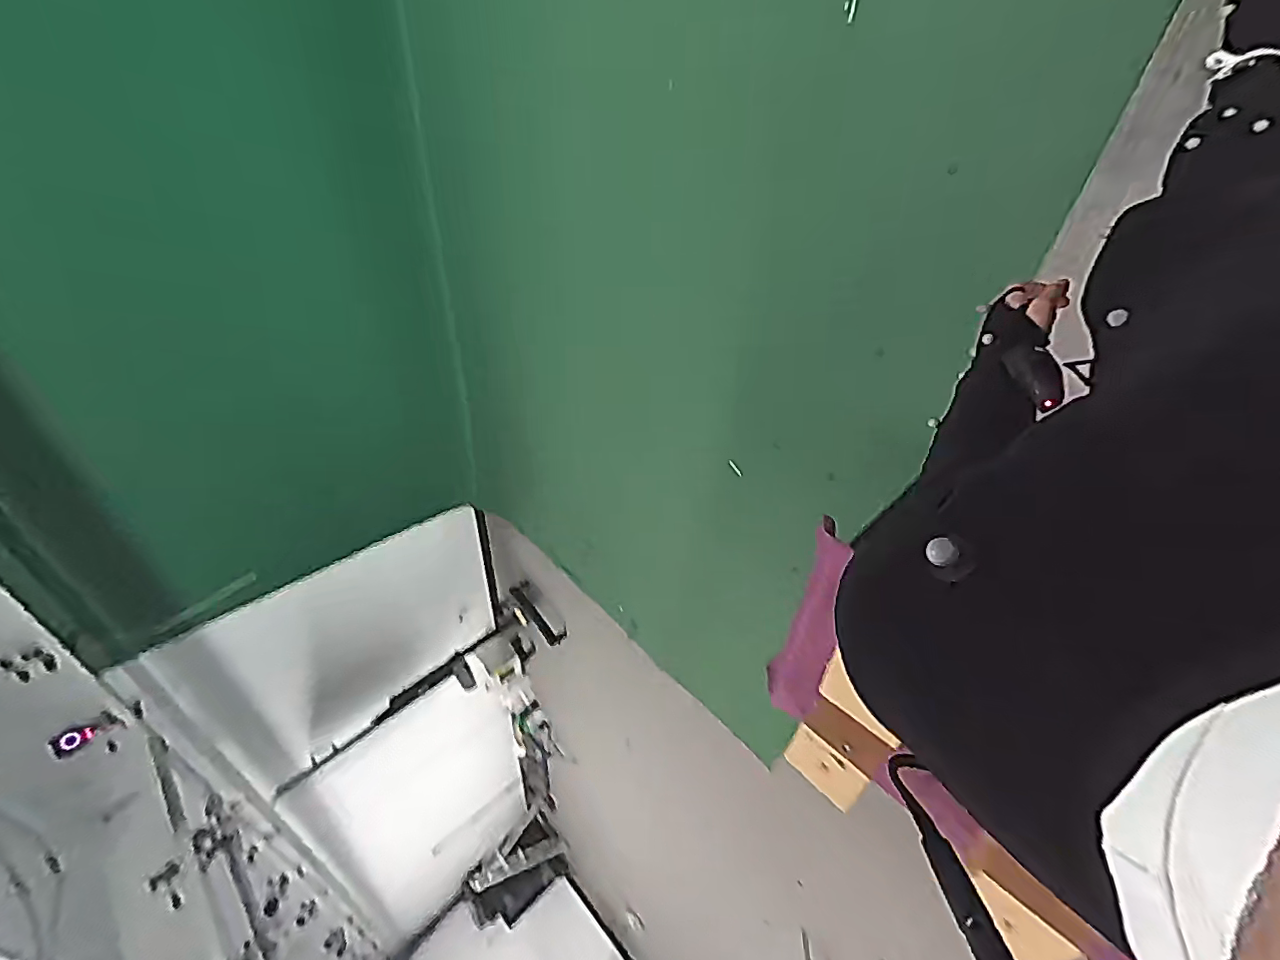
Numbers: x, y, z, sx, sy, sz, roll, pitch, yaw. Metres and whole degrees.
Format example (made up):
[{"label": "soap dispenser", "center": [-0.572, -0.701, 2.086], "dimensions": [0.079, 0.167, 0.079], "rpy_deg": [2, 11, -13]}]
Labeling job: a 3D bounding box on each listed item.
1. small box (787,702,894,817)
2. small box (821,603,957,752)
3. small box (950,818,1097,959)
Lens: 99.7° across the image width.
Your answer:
[{"label": "small box", "center": [0.472, 0.624, 1.254], "dimensions": [0.168, 0.176, 0.179], "rpy_deg": [34, 137, 32]}, {"label": "small box", "center": [0.488, 0.381, 1.062], "dimensions": [0.168, 0.176, 0.179], "rpy_deg": [32, 135, 33]}, {"label": "small box", "center": [0.743, 0.805, 1.042], "dimensions": [0.168, 0.176, 0.179], "rpy_deg": [33, 135, 33]}]
